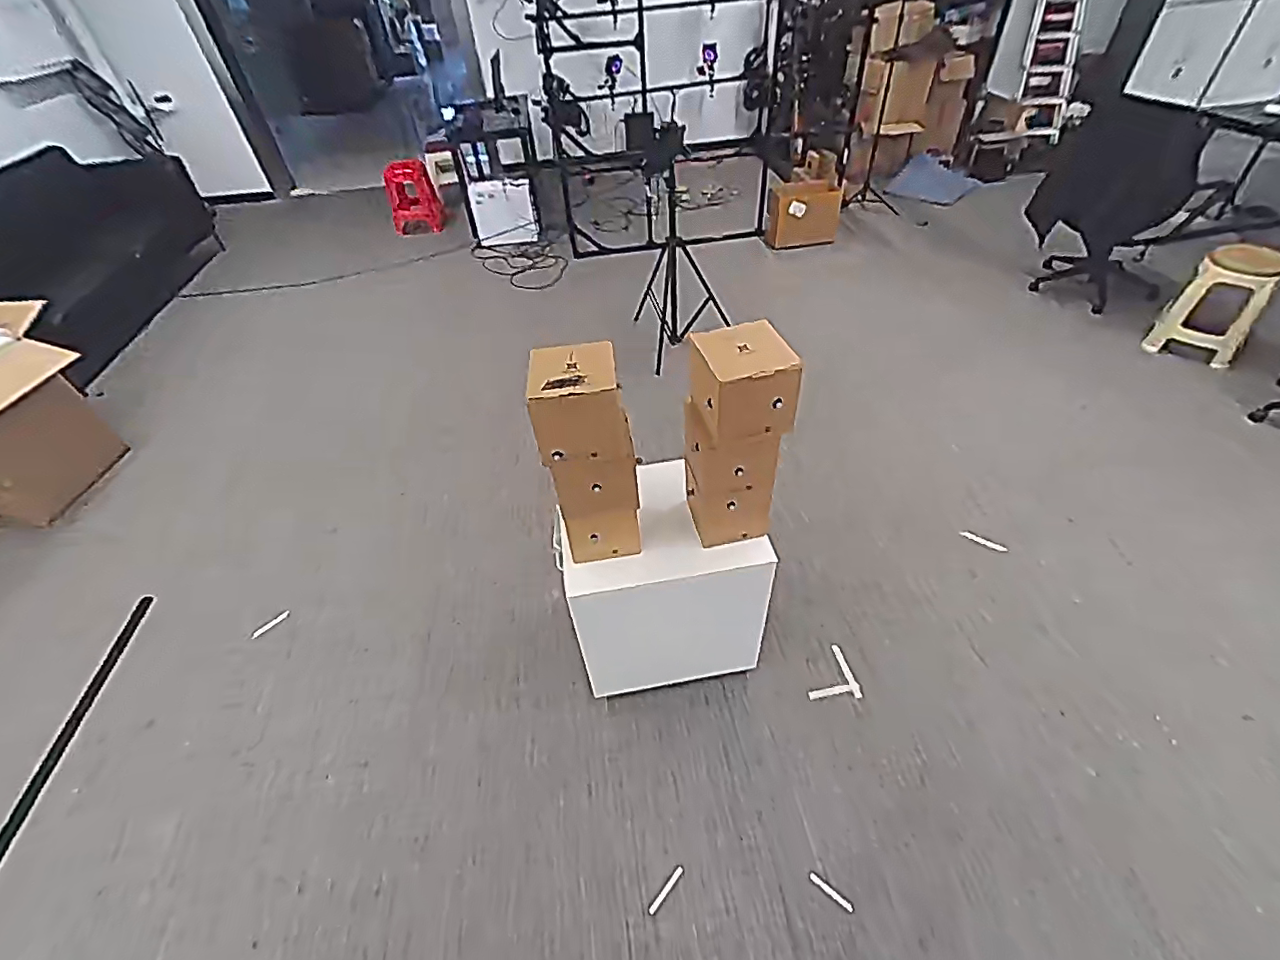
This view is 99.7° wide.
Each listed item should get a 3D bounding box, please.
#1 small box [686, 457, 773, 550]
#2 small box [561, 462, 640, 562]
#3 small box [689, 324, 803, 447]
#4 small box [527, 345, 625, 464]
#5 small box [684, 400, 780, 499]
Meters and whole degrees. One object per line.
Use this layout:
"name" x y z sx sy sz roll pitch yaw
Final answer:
"small box" 0.212 0.043 1.321 0.168 0.176 0.179 -12 45 -4
"small box" -0.094 0.085 1.311 0.168 0.176 0.179 -8 44 -4
"small box" 0.204 -0.183 1.083 0.168 0.176 0.179 -14 45 -8
"small box" -0.122 -0.144 1.076 0.168 0.176 0.179 -6 44 -1
"small box" 0.200 -0.074 1.205 0.168 0.176 0.179 -10 45 -4
